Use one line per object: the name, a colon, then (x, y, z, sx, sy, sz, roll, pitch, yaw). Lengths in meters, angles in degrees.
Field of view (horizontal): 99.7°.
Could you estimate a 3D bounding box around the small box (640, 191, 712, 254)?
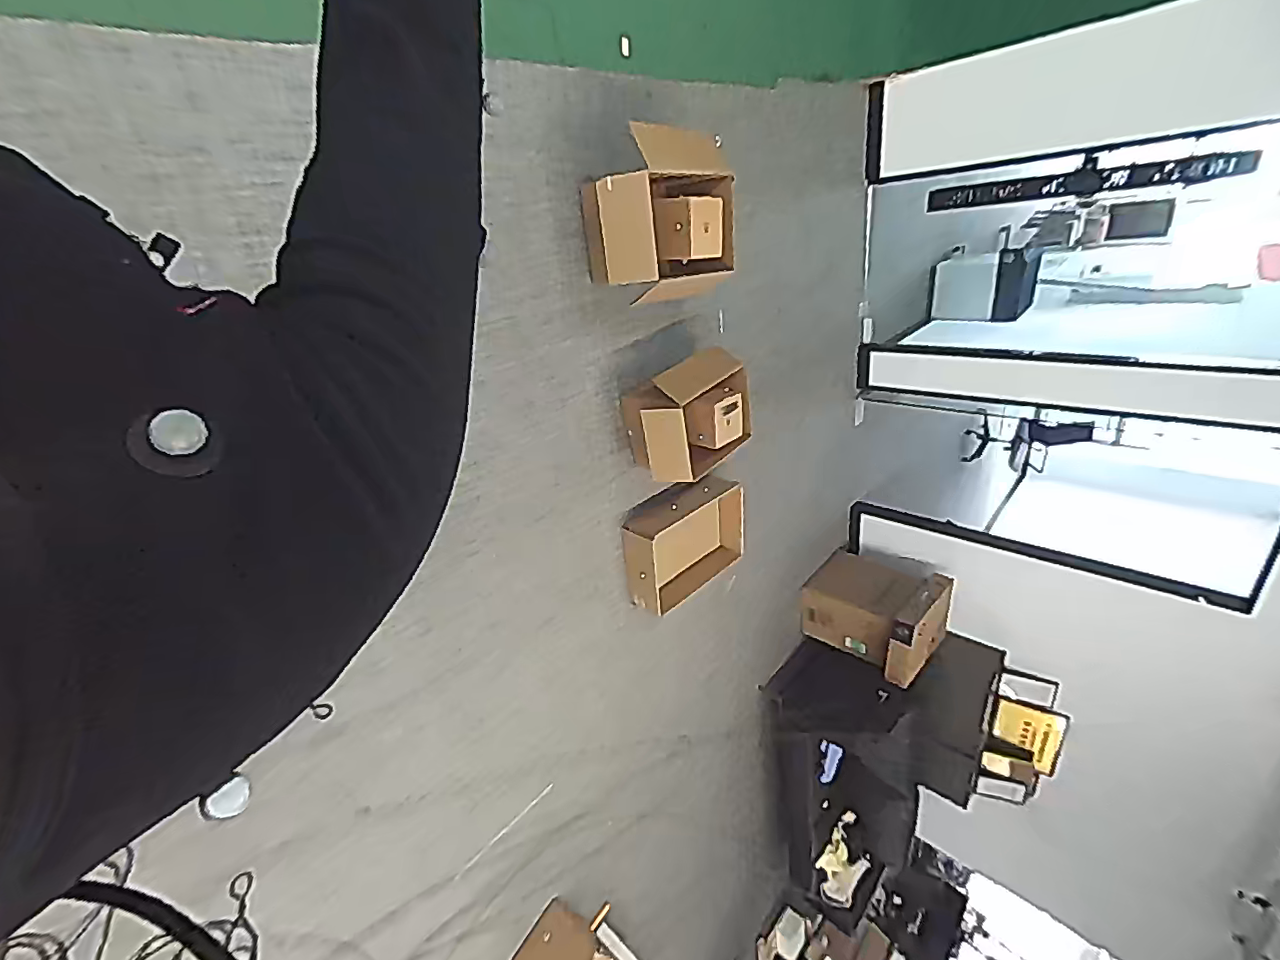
small box: (0.116, -0.827, 1.748, 0.168, 0.176, 0.179, -26, 122, -41)
